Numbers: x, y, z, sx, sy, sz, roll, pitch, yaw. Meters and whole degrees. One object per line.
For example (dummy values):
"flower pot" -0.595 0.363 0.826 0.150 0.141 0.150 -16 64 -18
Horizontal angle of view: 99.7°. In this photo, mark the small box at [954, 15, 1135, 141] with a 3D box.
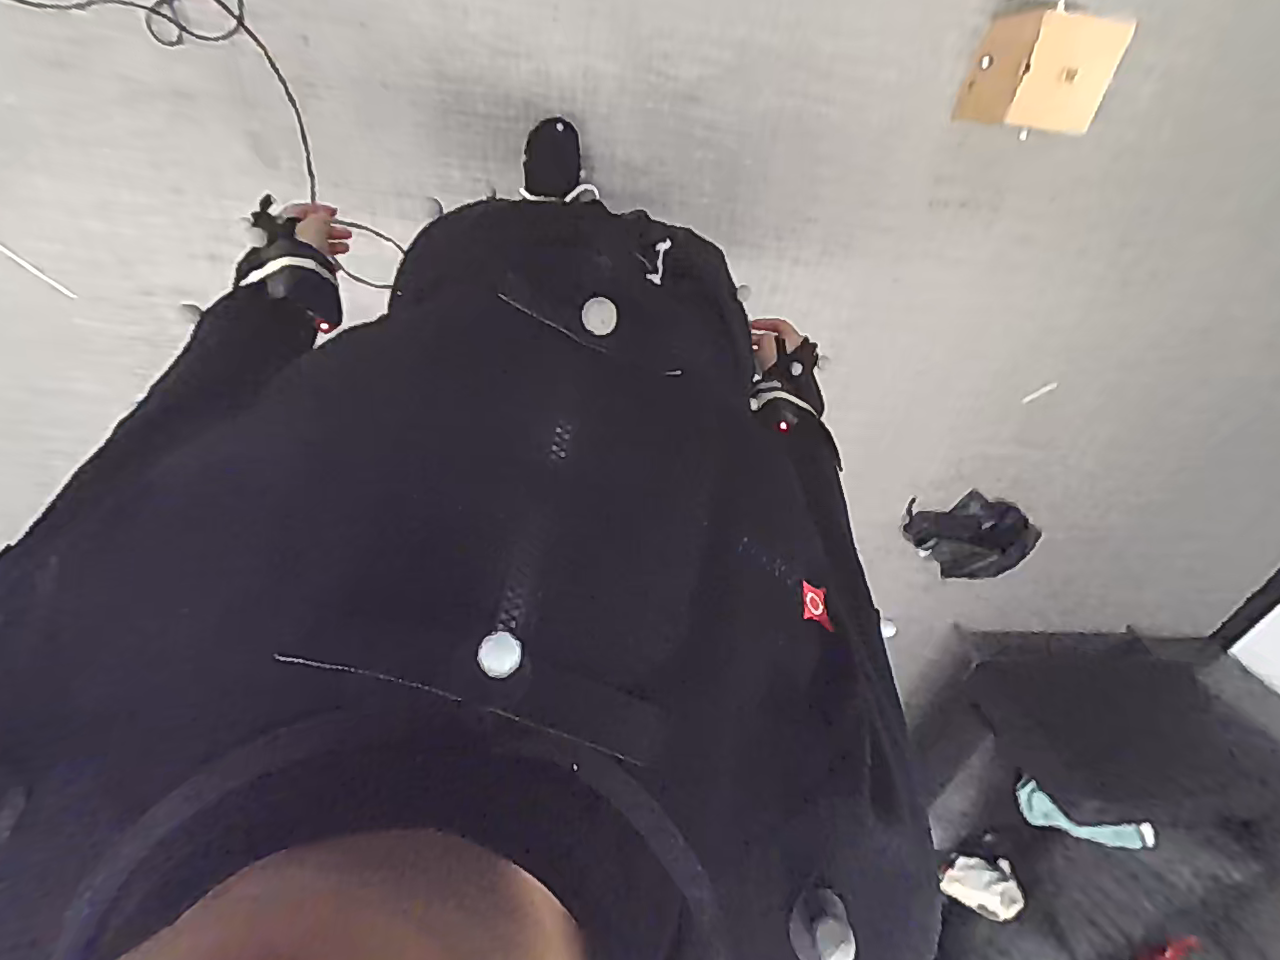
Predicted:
"small box" 0.749 -0.755 1.024 0.179 0.176 0.168 2 125 -8
